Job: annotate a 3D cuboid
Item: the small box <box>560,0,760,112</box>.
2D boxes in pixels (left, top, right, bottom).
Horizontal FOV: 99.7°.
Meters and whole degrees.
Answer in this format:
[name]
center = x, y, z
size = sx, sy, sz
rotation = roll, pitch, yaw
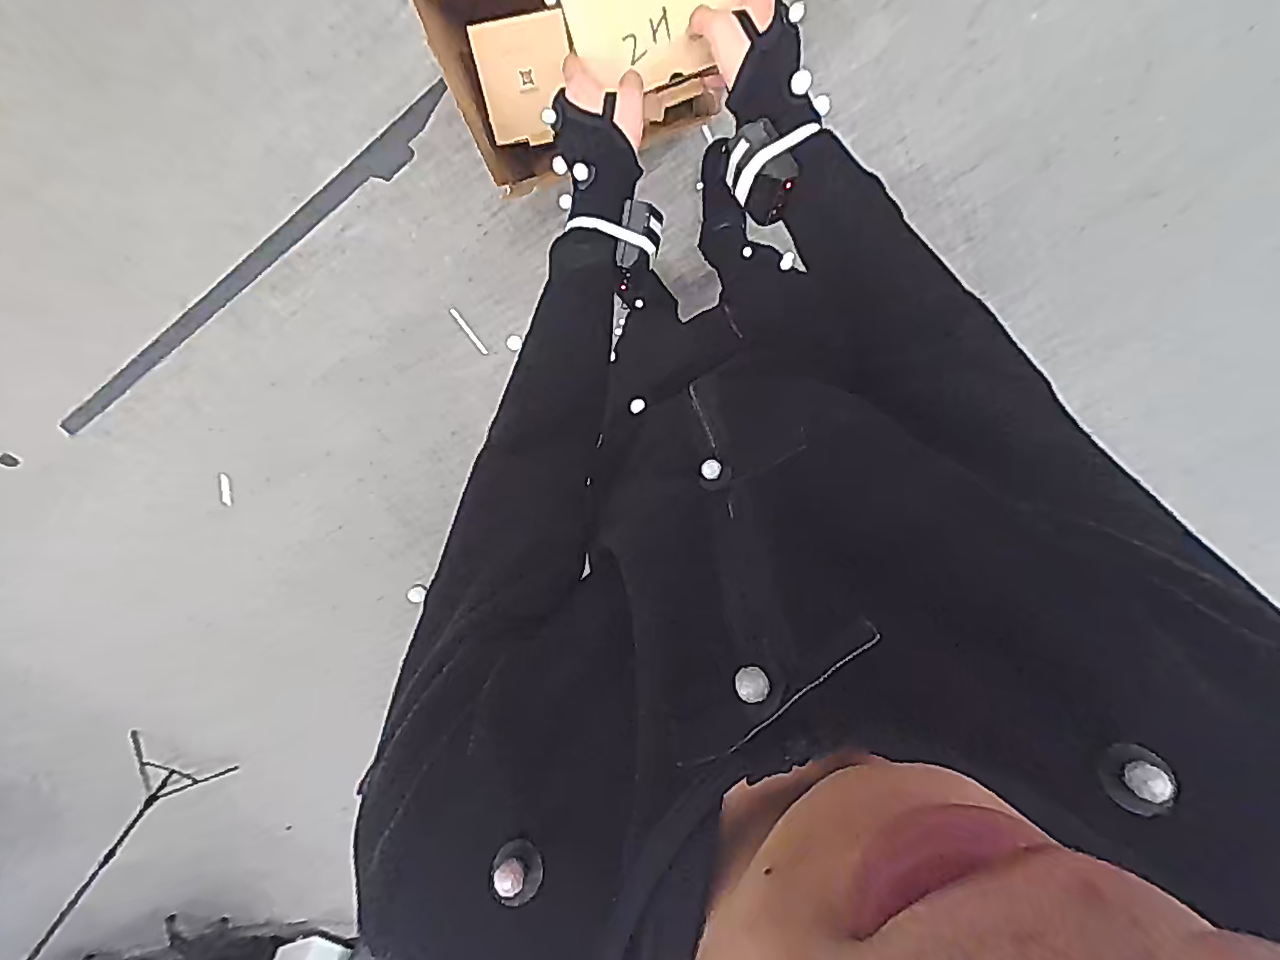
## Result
[small box]
center = 0.004, -0.481, 0.521
size = 0.168, 0.176, 0.179
rotation = -15, 123, 9
